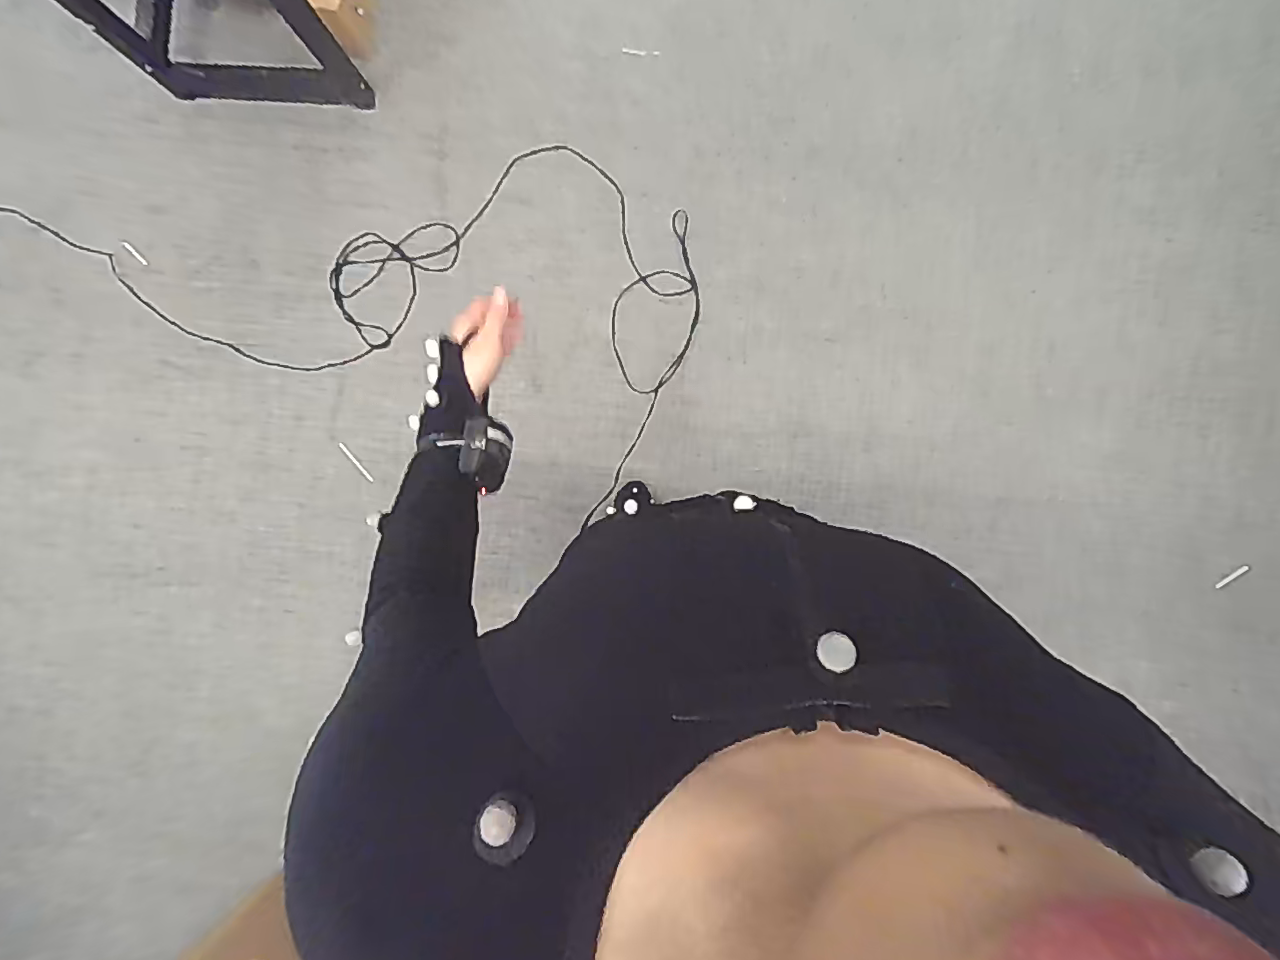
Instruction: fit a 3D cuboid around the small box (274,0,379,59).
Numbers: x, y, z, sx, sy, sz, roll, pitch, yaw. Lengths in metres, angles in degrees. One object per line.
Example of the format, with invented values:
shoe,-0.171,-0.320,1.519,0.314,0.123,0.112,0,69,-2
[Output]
small box,-0.828,-1.275,1.446,0.179,0.176,0.168,9,90,2
